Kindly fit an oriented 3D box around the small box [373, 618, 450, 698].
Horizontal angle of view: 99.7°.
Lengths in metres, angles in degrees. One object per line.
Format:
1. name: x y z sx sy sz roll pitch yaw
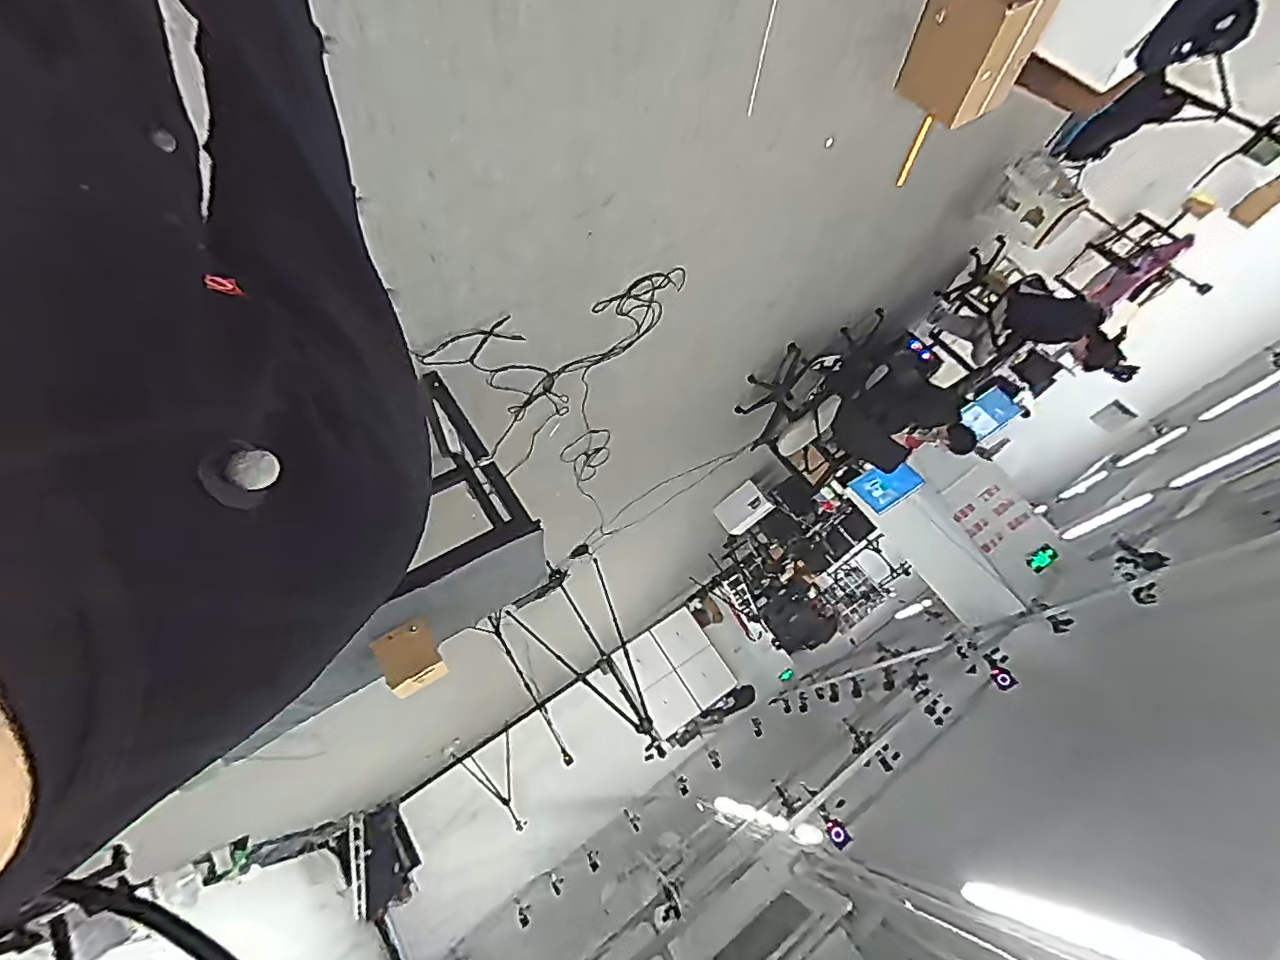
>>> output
1. small box: -0.737 0.572 1.748 0.168 0.176 0.179 -26 158 -24
